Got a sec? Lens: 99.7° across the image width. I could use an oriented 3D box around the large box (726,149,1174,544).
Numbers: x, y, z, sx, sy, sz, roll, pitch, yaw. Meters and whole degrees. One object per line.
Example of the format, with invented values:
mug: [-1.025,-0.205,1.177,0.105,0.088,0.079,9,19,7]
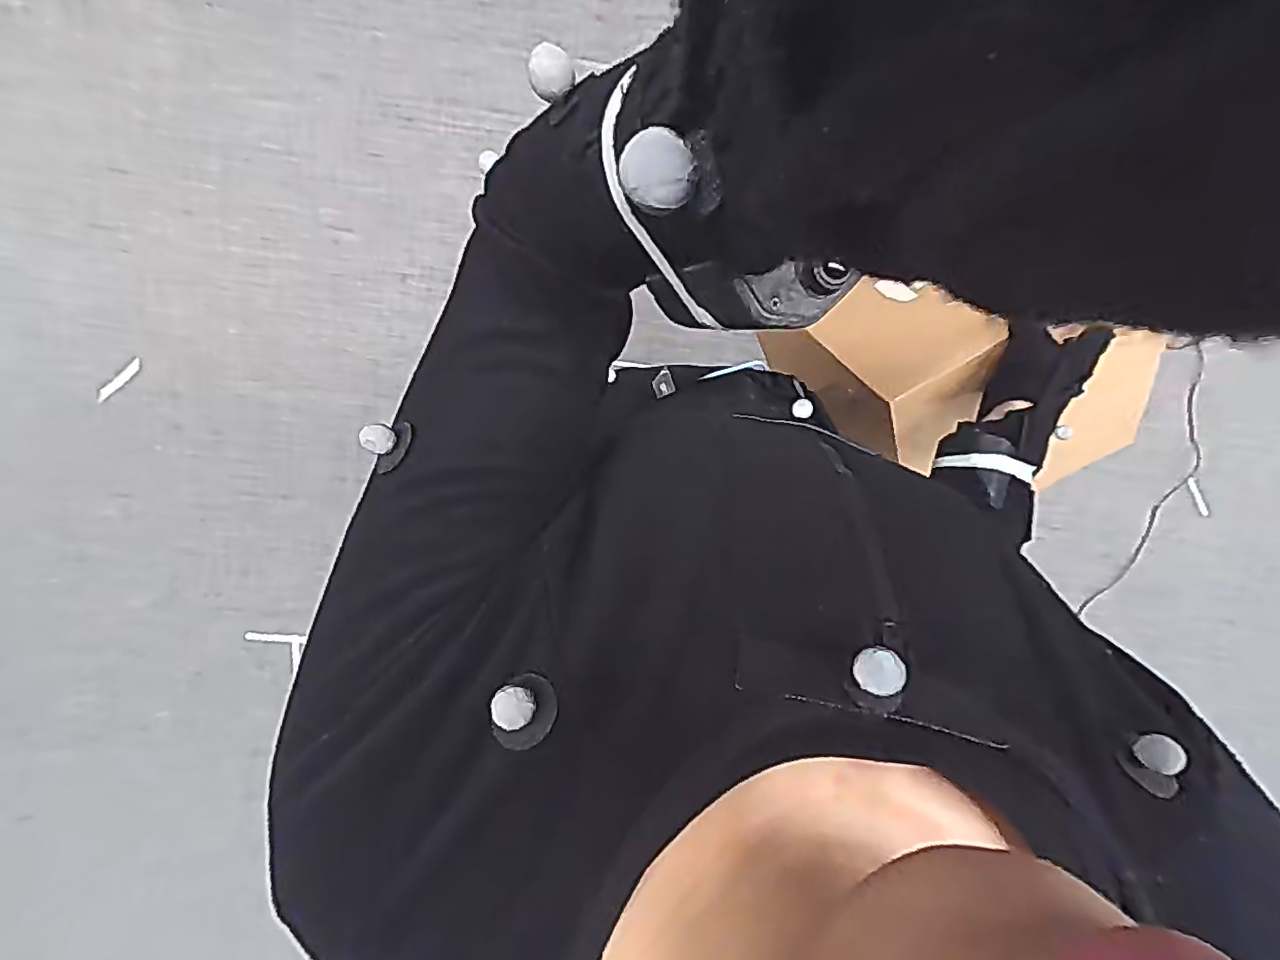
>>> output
large box: [0.379,-0.192,0.768,0.320,0.408,0.320,-31,136,7]
